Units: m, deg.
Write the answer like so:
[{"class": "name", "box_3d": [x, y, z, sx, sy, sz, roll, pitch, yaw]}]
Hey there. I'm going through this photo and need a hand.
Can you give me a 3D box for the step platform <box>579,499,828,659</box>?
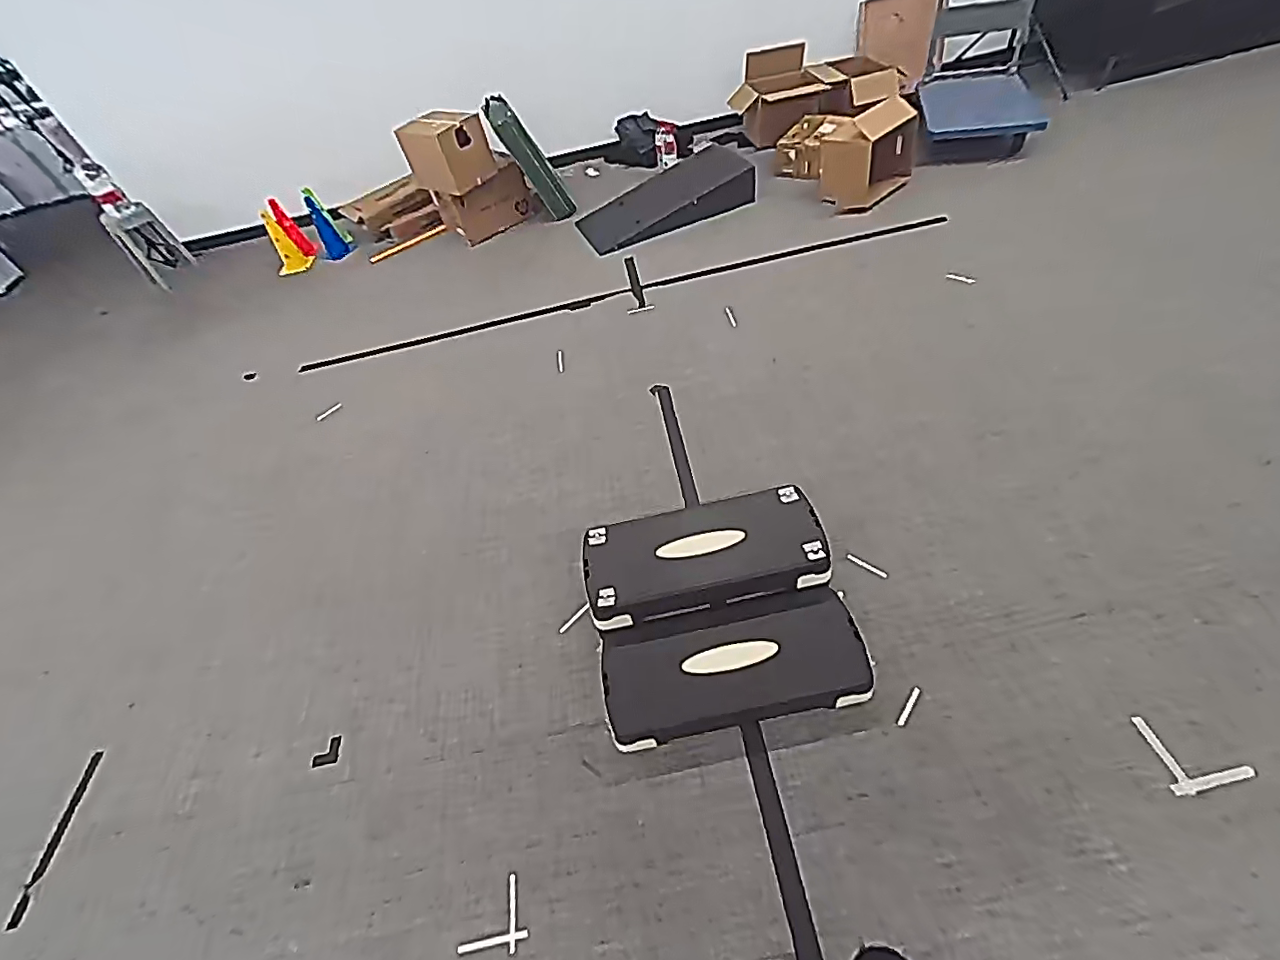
[{"class": "step platform", "box_3d": [0.170, 0.275, 1.541, 0.684, 0.204, 0.286, -13, 49, 0]}]
